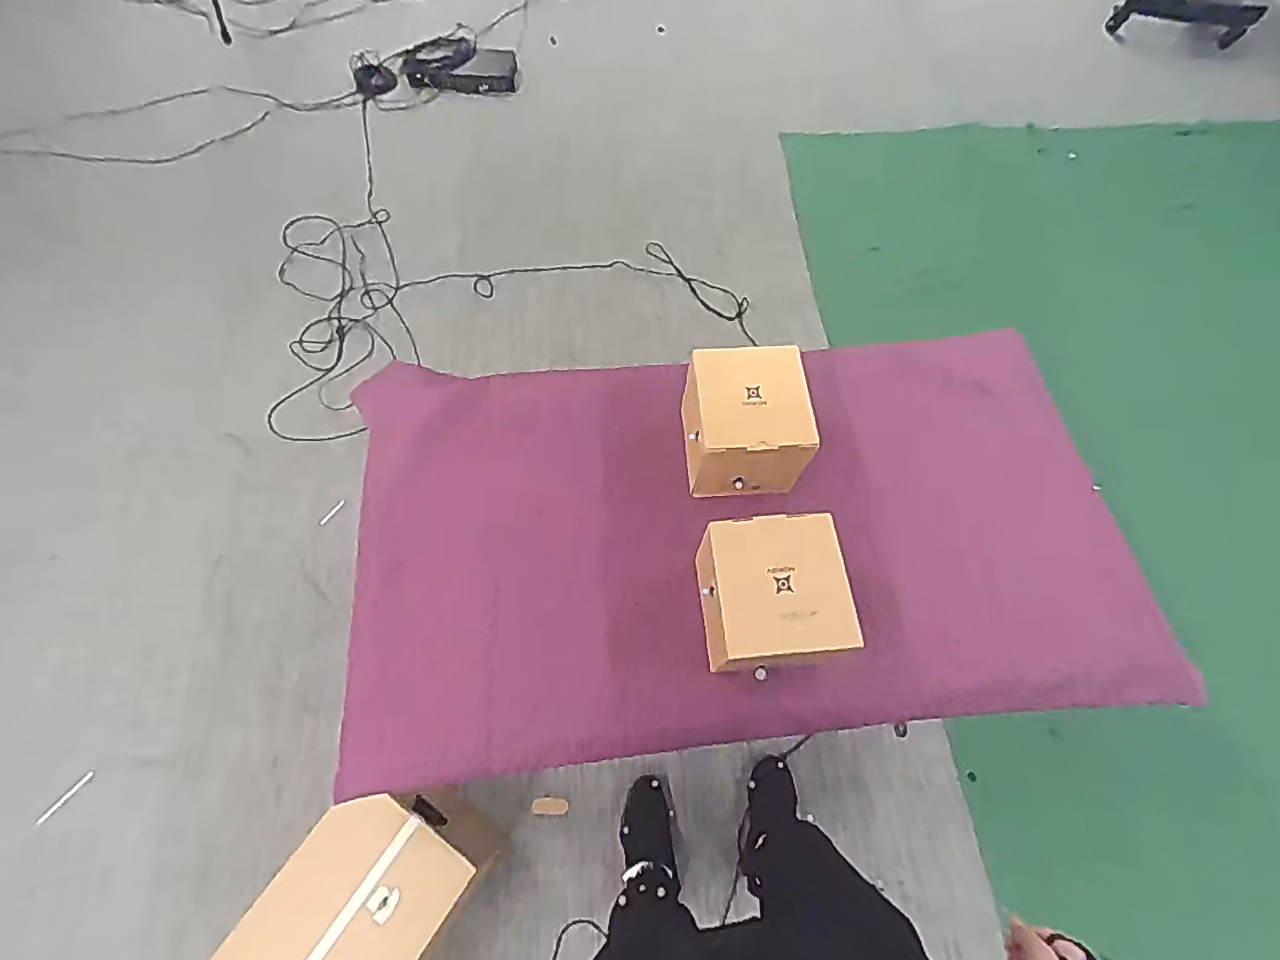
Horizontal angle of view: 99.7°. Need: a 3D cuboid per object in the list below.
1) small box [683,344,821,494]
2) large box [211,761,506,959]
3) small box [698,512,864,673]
[{"bbox_3d":[0.163,-0.091,0.850,0.168,0.176,0.179,-3,67,-3],"label":"small box"},{"bbox_3d":[-0.549,0.870,1.132,0.320,0.320,0.408,32,68,12],"label":"large box"},{"bbox_3d":[0.176,0.159,0.736,0.168,0.176,0.179,-4,66,-2],"label":"small box"}]
